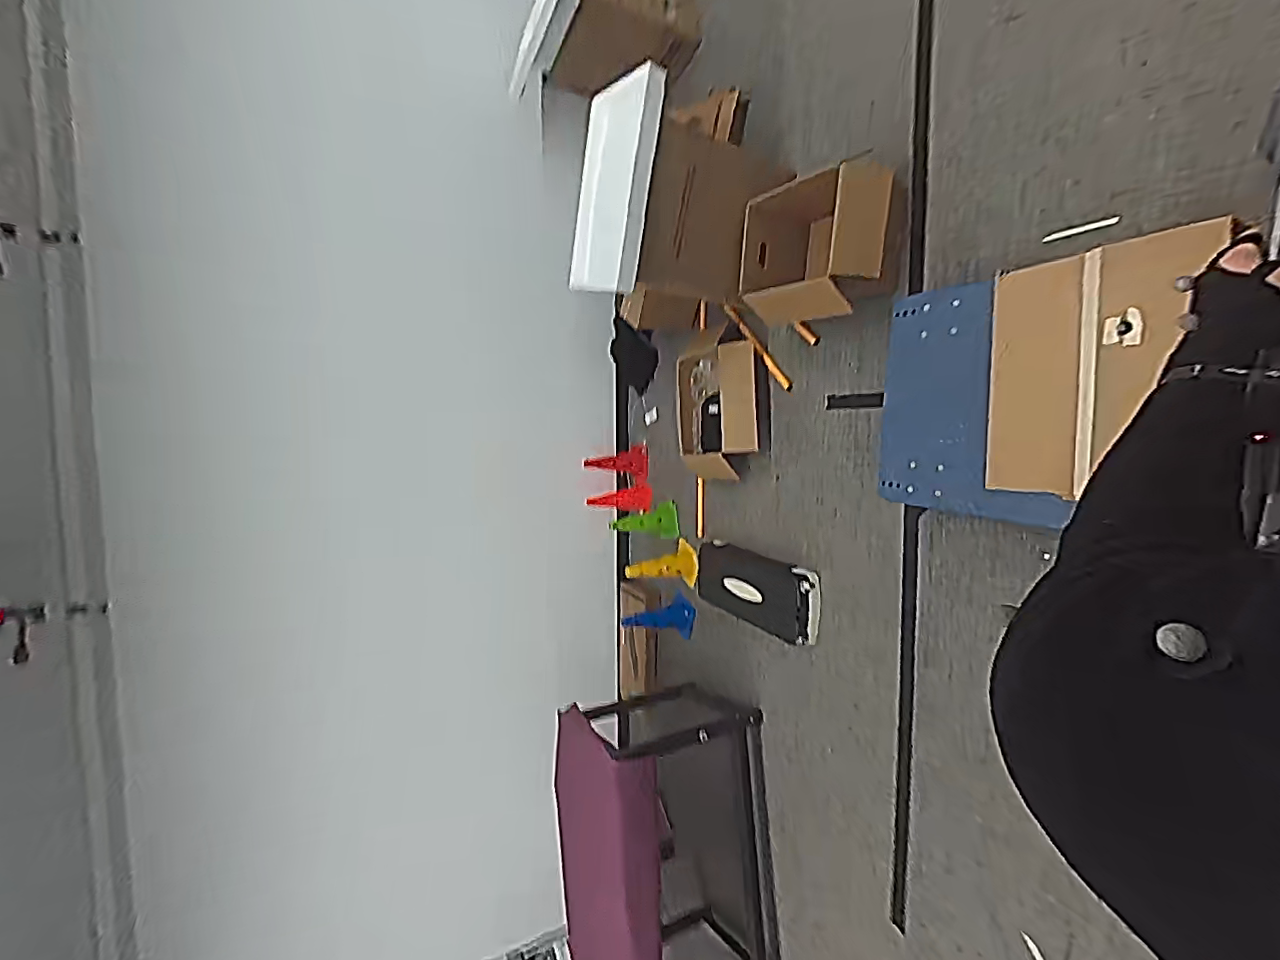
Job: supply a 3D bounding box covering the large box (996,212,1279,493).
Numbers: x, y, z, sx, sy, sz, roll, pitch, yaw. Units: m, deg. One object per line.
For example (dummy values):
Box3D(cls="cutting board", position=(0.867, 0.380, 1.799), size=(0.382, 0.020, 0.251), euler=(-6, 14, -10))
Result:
Box3D(cls="large box", position=(0.885, -0.184, 0.959), size=(0.320, 0.320, 0.408), euler=(6, 96, 61))
